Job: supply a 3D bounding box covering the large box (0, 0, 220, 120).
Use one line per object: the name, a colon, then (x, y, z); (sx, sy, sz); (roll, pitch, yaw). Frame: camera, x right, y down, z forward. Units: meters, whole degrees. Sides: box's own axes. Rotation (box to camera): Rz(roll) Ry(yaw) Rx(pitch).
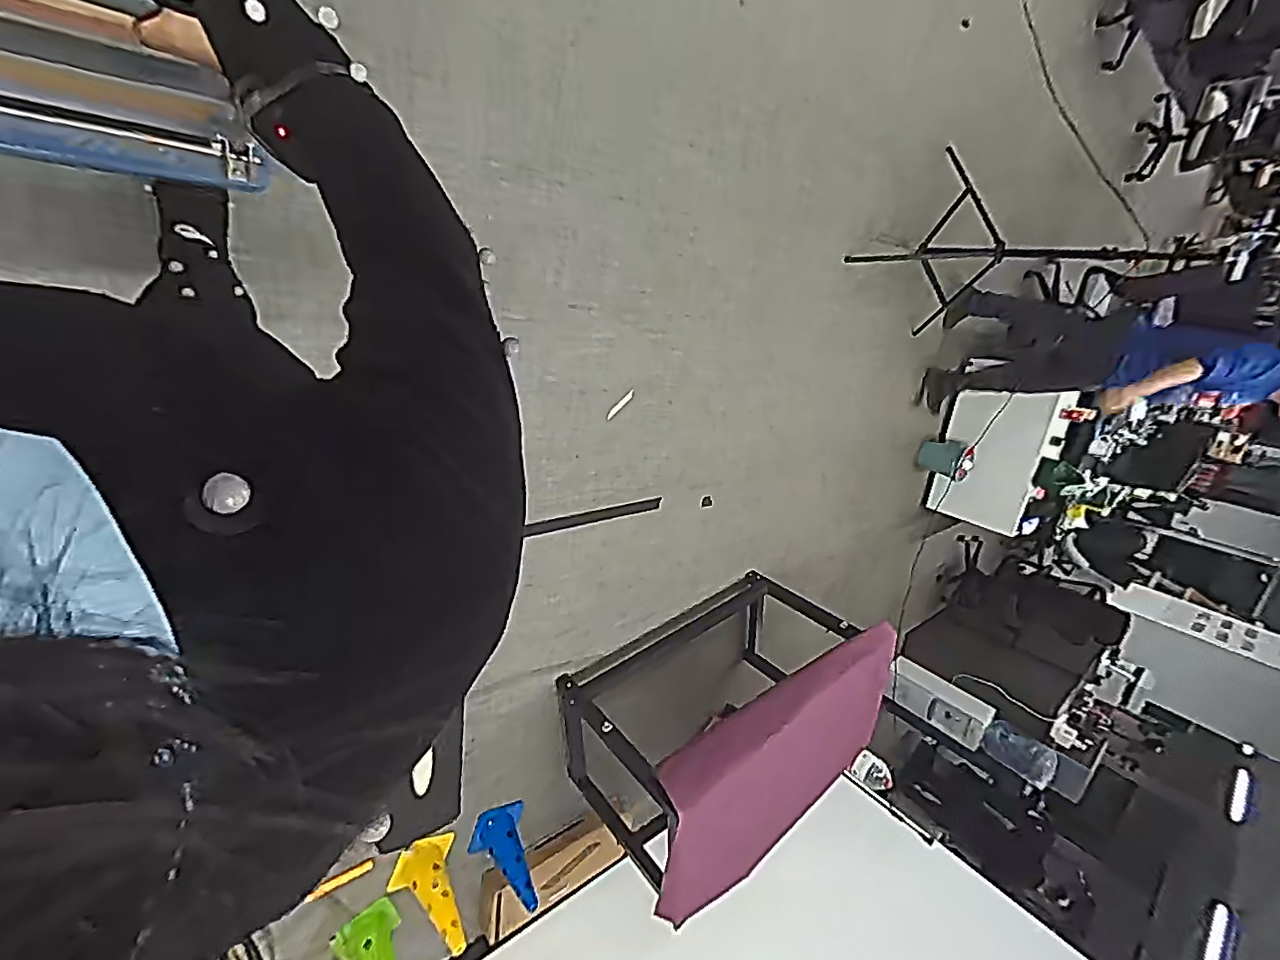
large box: (-0.778, -0.675, 0.633); (0.408, 0.320, 0.320); (-10, 114, -39)
